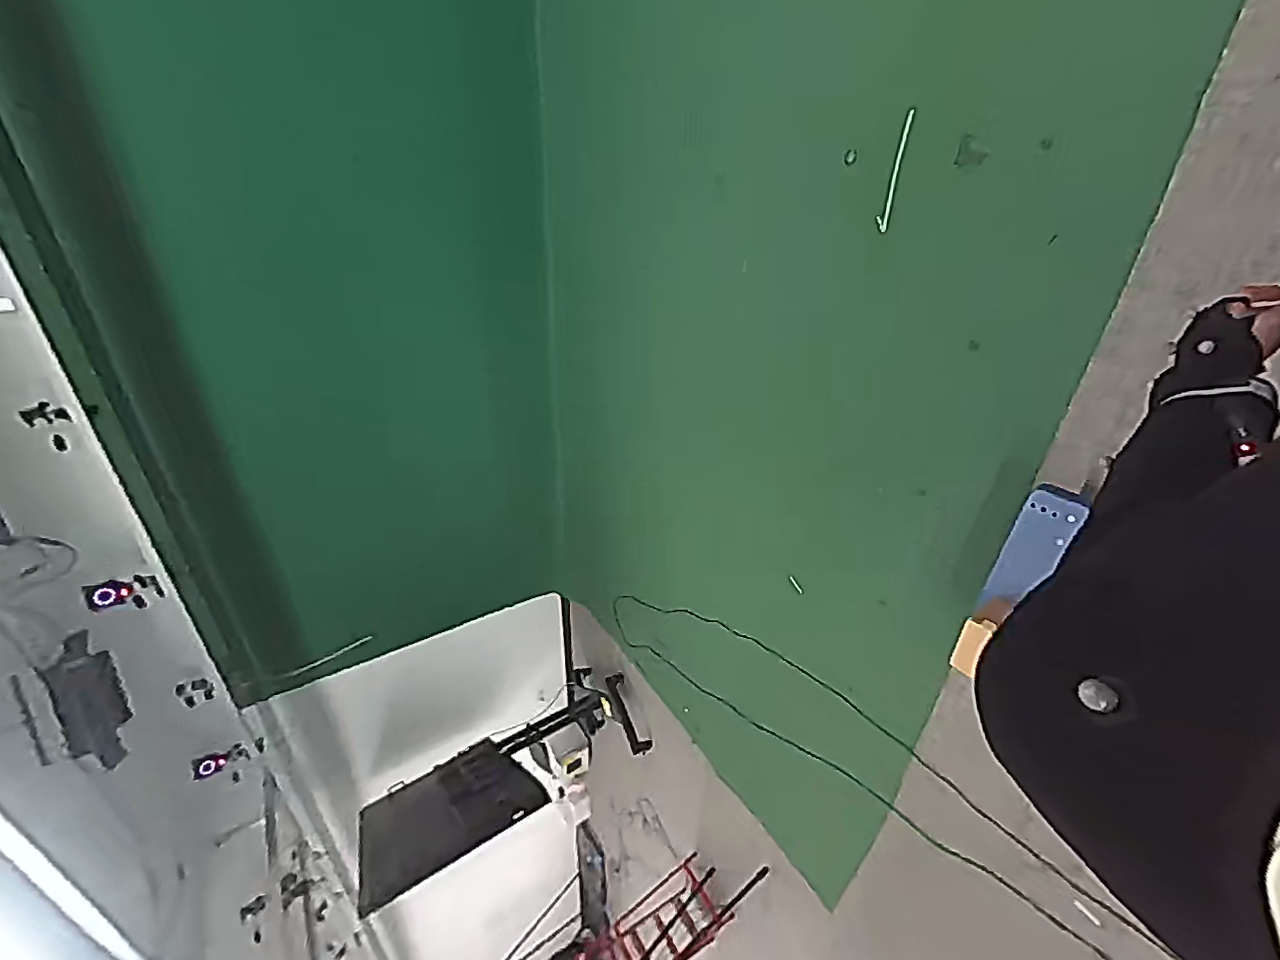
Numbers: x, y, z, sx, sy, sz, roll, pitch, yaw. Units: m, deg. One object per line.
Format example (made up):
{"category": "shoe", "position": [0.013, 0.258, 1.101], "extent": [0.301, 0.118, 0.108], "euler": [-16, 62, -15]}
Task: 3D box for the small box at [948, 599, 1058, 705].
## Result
{"category": "small box", "position": [0.967, 0.451, 1.438], "extent": [0.168, 0.176, 0.179], "euler": [36, 133, 45]}
